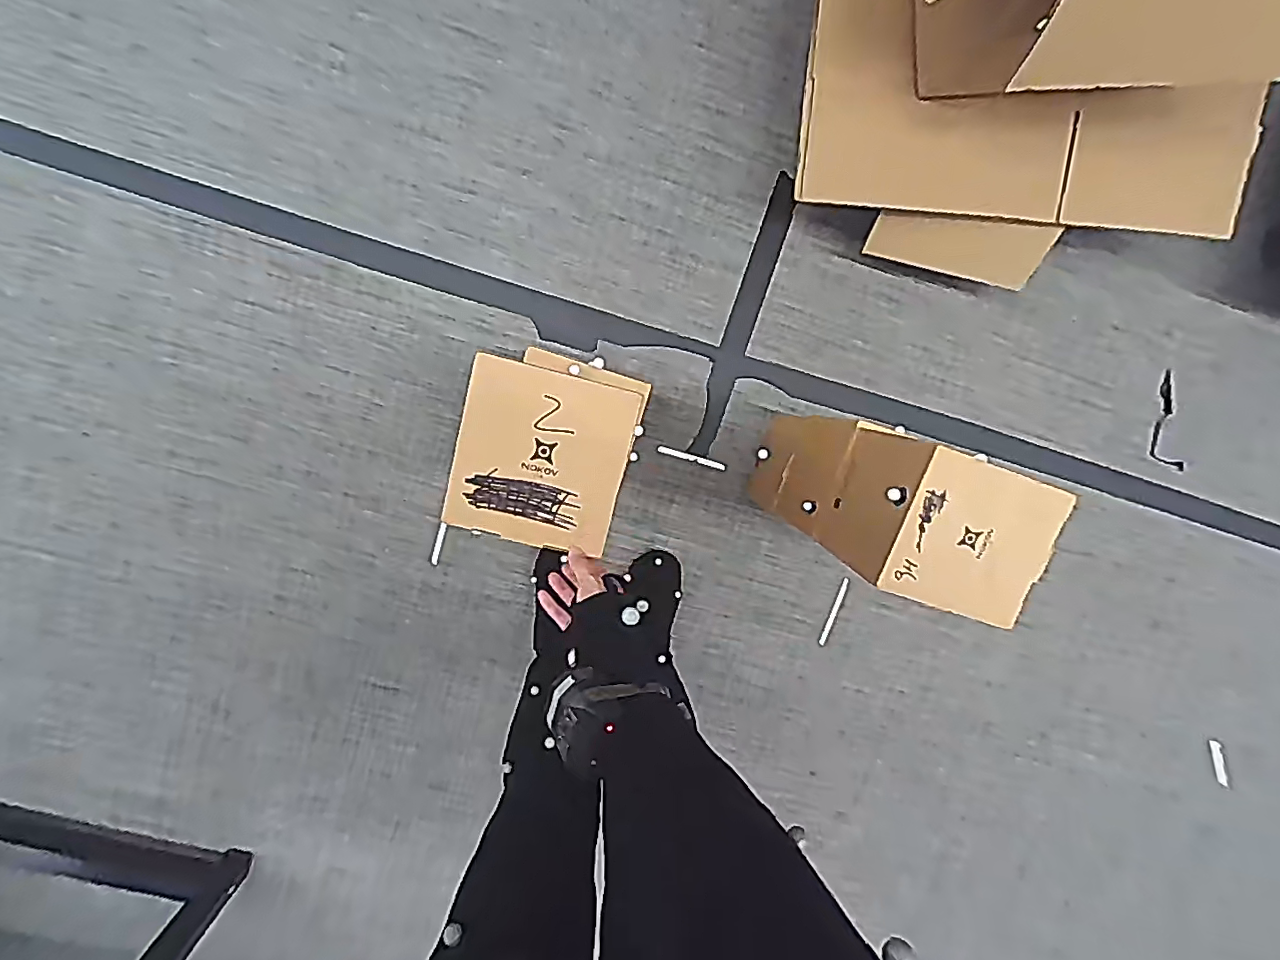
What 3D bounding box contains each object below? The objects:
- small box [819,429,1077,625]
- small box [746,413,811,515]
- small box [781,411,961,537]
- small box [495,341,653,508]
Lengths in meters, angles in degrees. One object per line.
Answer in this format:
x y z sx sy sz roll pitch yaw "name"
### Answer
0.353 0.045 0.655 0.179 0.176 0.168 18 100 -9 "small box"
0.318 -0.016 0.973 0.179 0.176 0.168 21 98 -8 "small box"
0.333 0.002 0.812 0.168 0.176 0.179 16 100 -8 "small box"
-0.089 -0.080 0.766 0.168 0.176 0.179 17 98 -7 "small box"
